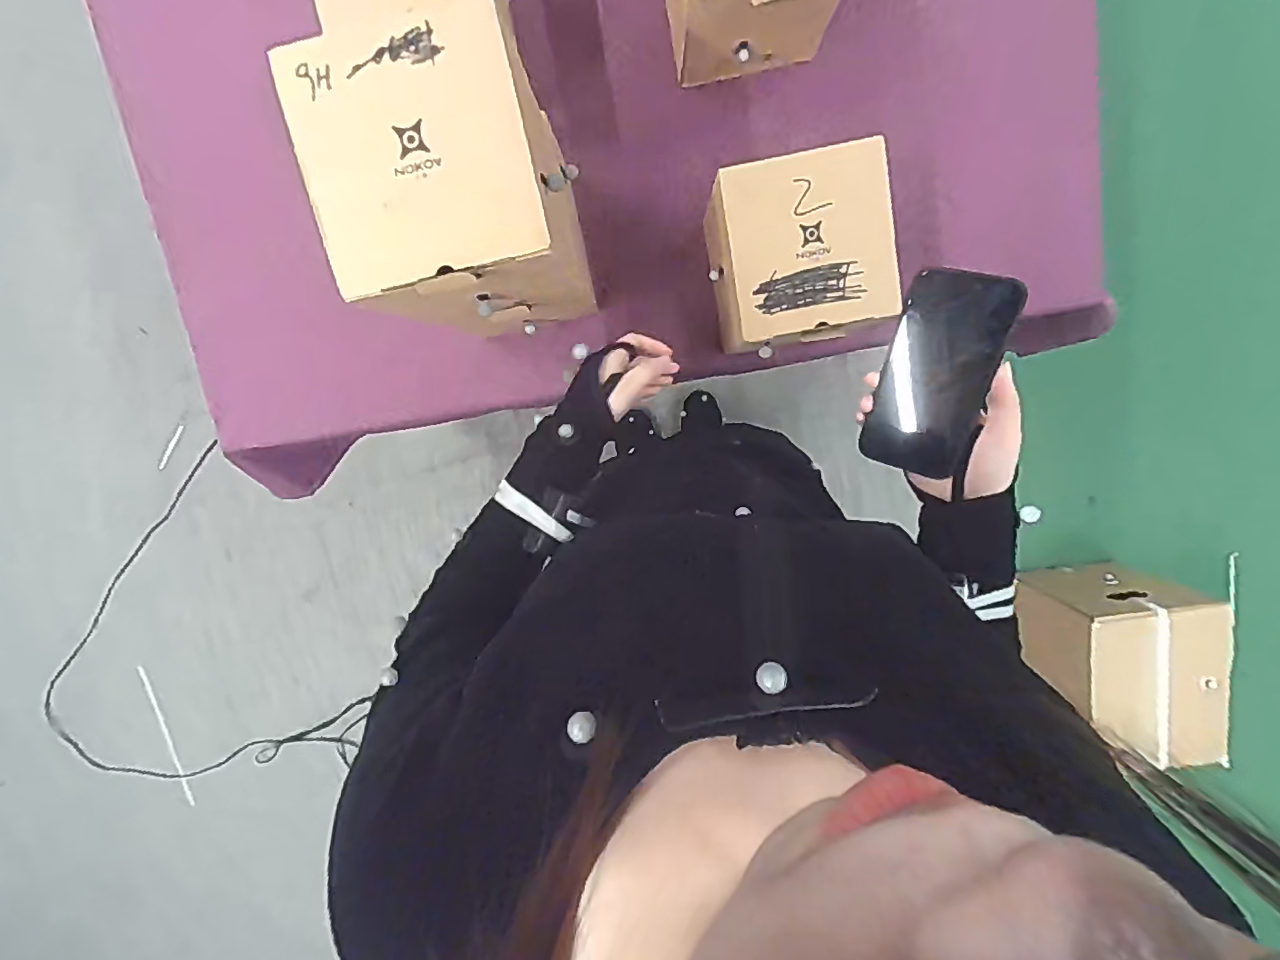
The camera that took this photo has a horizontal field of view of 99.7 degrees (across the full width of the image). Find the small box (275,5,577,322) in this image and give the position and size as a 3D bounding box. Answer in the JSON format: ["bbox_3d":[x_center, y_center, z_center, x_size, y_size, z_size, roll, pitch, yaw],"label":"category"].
[{"bbox_3d":[-0.159,-0.242,0.469,0.168,0.176,0.179,-12,99,3],"label":"small box"}]

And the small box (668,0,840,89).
[{"bbox_3d":[0.113,-0.569,0.575,0.168,0.176,0.179,-12,100,4],"label":"small box"}]

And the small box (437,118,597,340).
[{"bbox_3d":[-0.152,-0.273,0.631,0.168,0.176,0.179,-11,99,4],"label":"small box"}]
